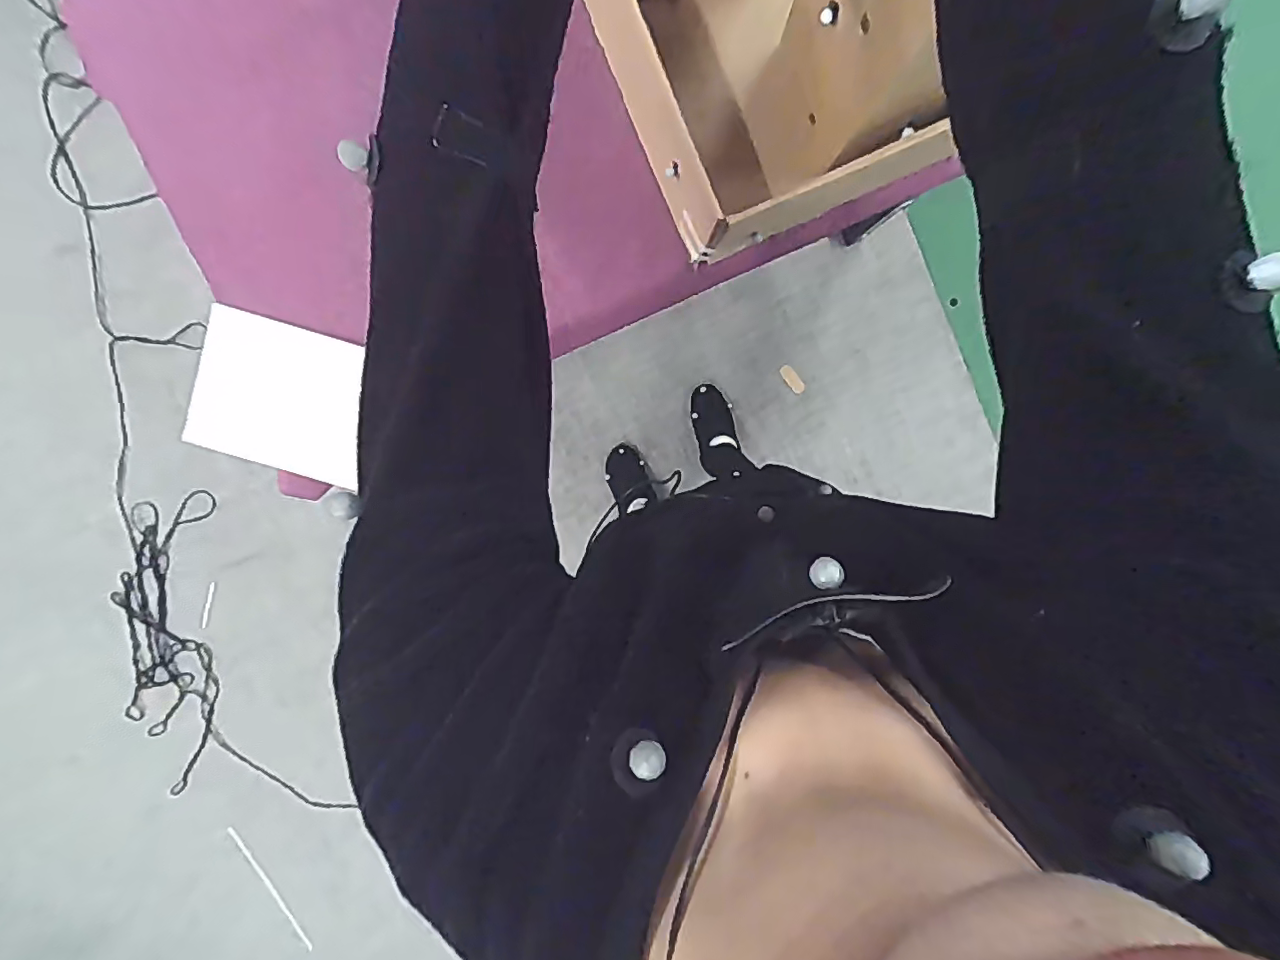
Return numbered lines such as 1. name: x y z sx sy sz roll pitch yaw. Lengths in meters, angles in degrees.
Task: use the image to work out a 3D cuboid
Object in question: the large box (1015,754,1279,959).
1. large box: 1.381 1.072 1.498 0.408 0.320 0.320 -40 96 3
